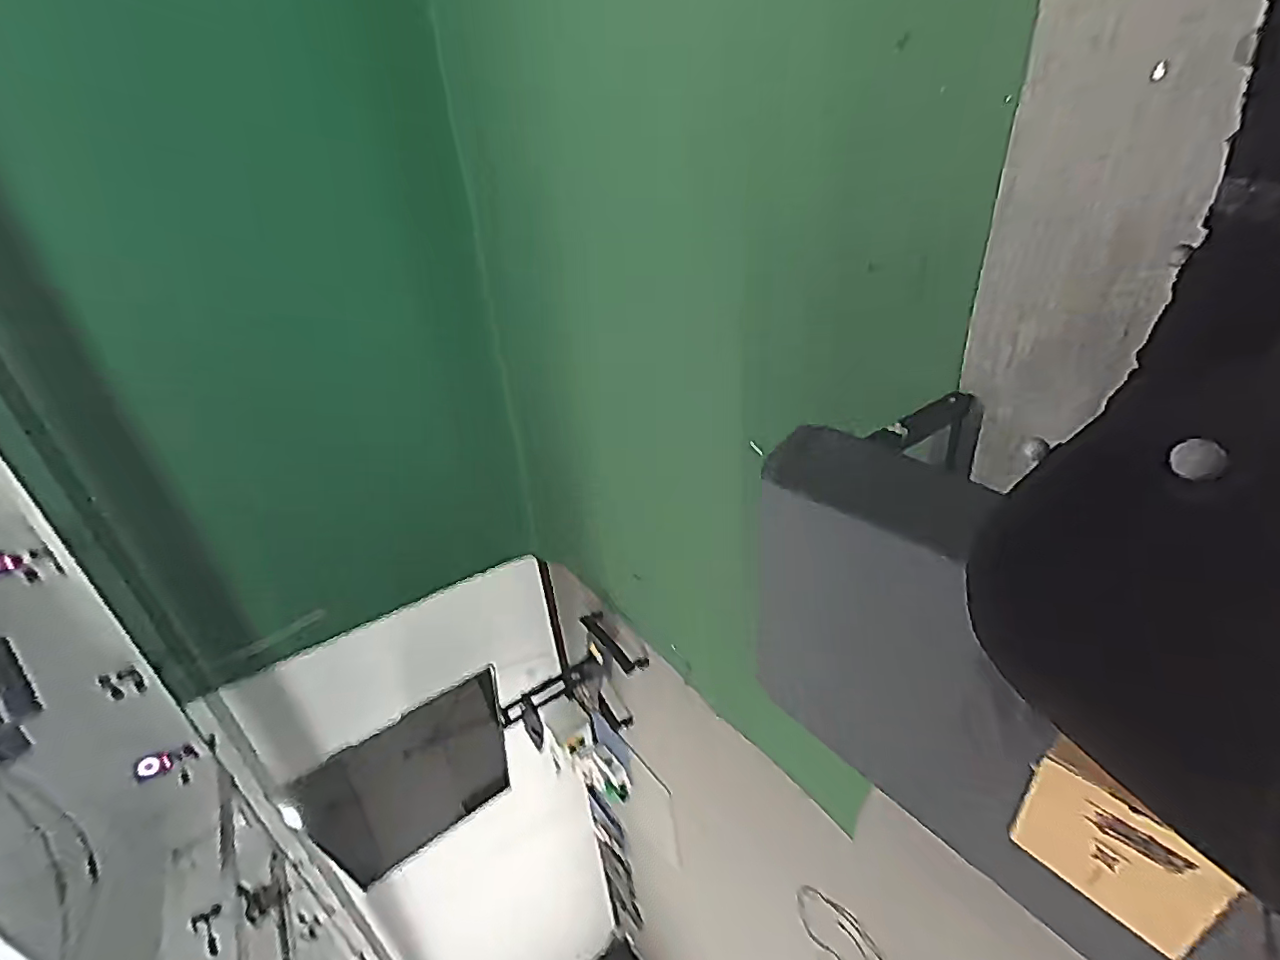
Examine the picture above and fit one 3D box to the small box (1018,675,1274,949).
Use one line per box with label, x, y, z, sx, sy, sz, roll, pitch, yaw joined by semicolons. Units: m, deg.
small box;0.585;0.368;0.633;0.168;0.176;0.179;26;130;49
